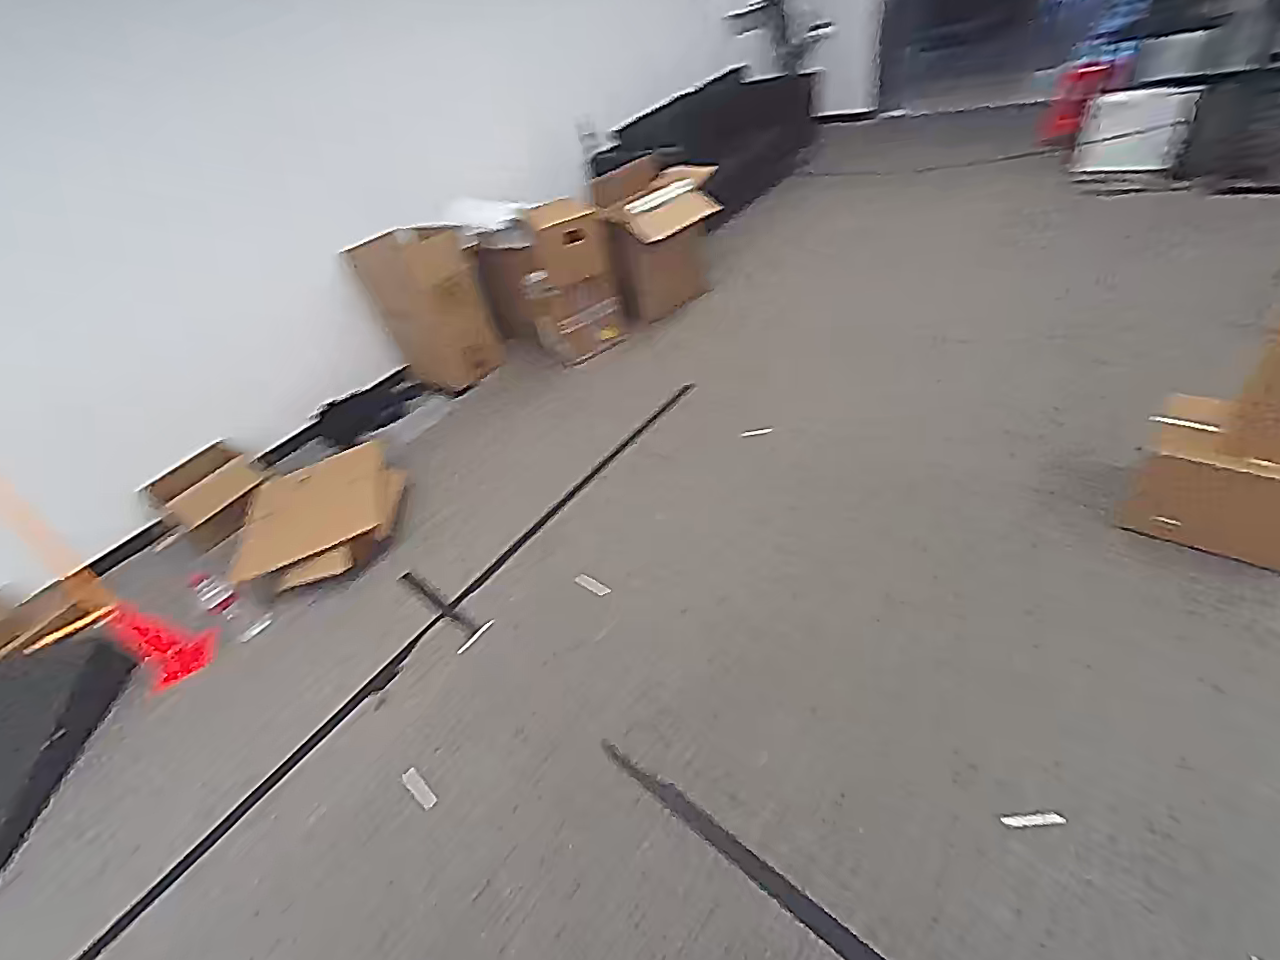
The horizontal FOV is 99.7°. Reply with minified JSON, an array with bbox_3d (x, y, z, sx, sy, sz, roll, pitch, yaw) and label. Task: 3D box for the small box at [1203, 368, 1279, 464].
[{"bbox_3d":[1.608,-0.164,1.392,0.179,0.176,0.168,21,54,34],"label":"small box"}]
